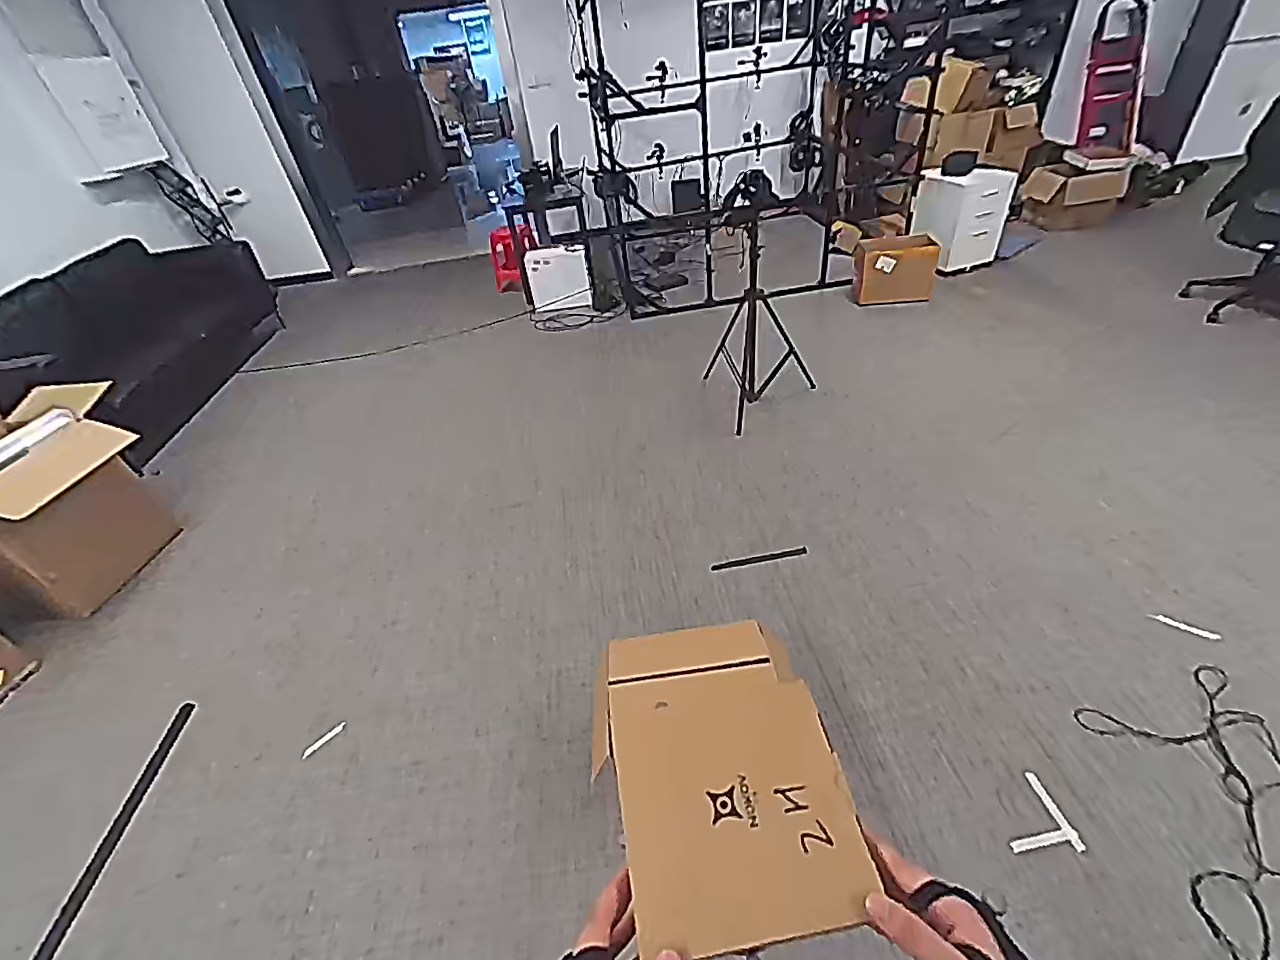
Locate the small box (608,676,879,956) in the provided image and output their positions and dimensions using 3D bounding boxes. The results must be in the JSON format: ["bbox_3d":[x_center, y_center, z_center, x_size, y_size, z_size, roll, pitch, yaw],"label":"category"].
[{"bbox_3d":[0.078,0.300,0.480,0.179,0.176,0.168,-11,49,-2],"label":"small box"}]
